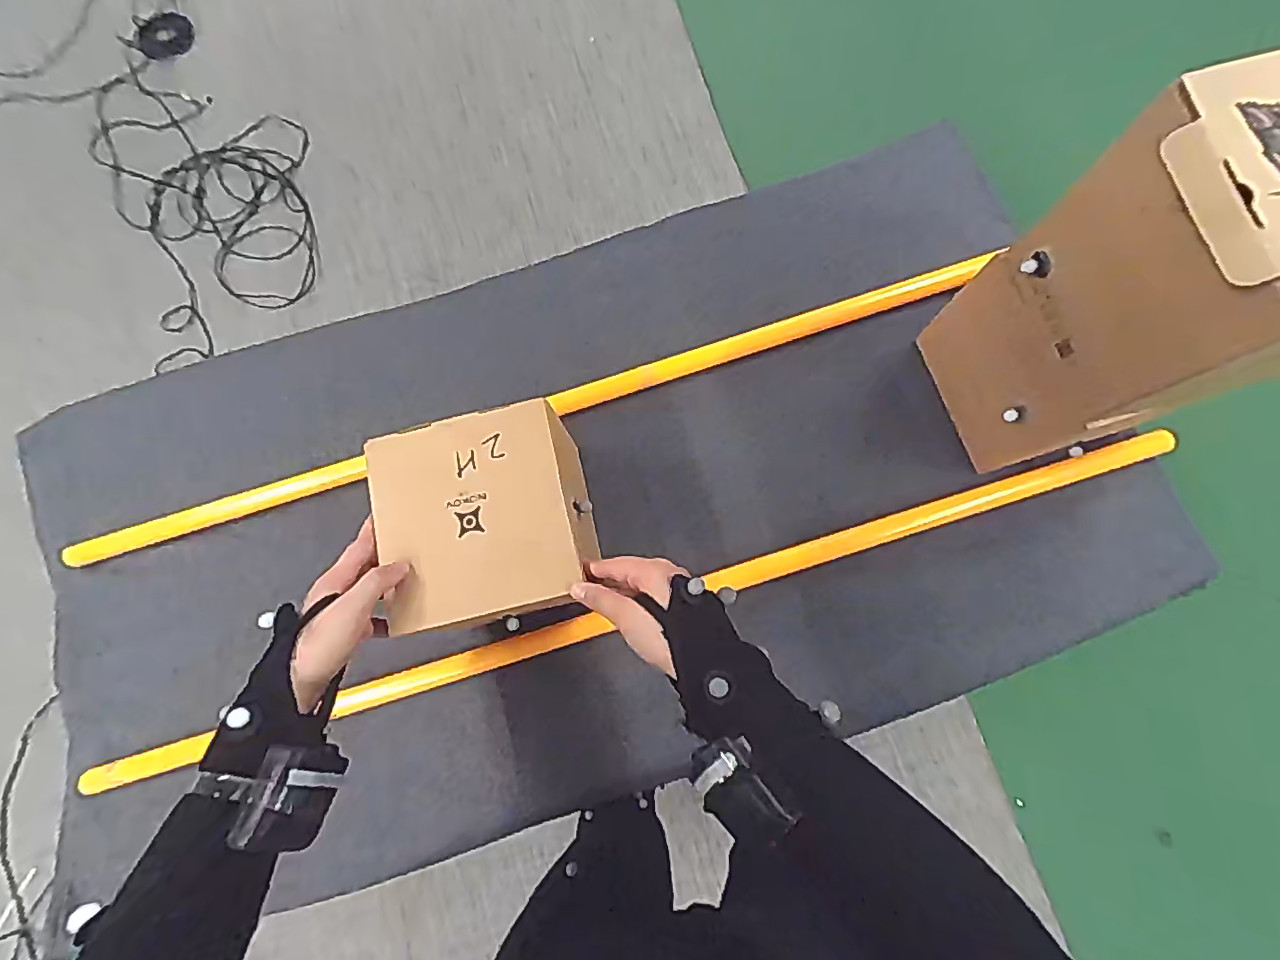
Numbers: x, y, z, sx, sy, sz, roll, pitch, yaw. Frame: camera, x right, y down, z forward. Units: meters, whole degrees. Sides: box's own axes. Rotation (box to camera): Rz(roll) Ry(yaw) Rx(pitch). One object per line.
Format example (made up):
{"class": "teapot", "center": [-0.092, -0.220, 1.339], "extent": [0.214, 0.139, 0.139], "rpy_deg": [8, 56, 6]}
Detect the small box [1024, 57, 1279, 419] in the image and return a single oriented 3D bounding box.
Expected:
{"class": "small box", "center": [0.413, -0.156, 0.376], "extent": [0.179, 0.176, 0.168], "rpy_deg": [-13, 78, 0]}
